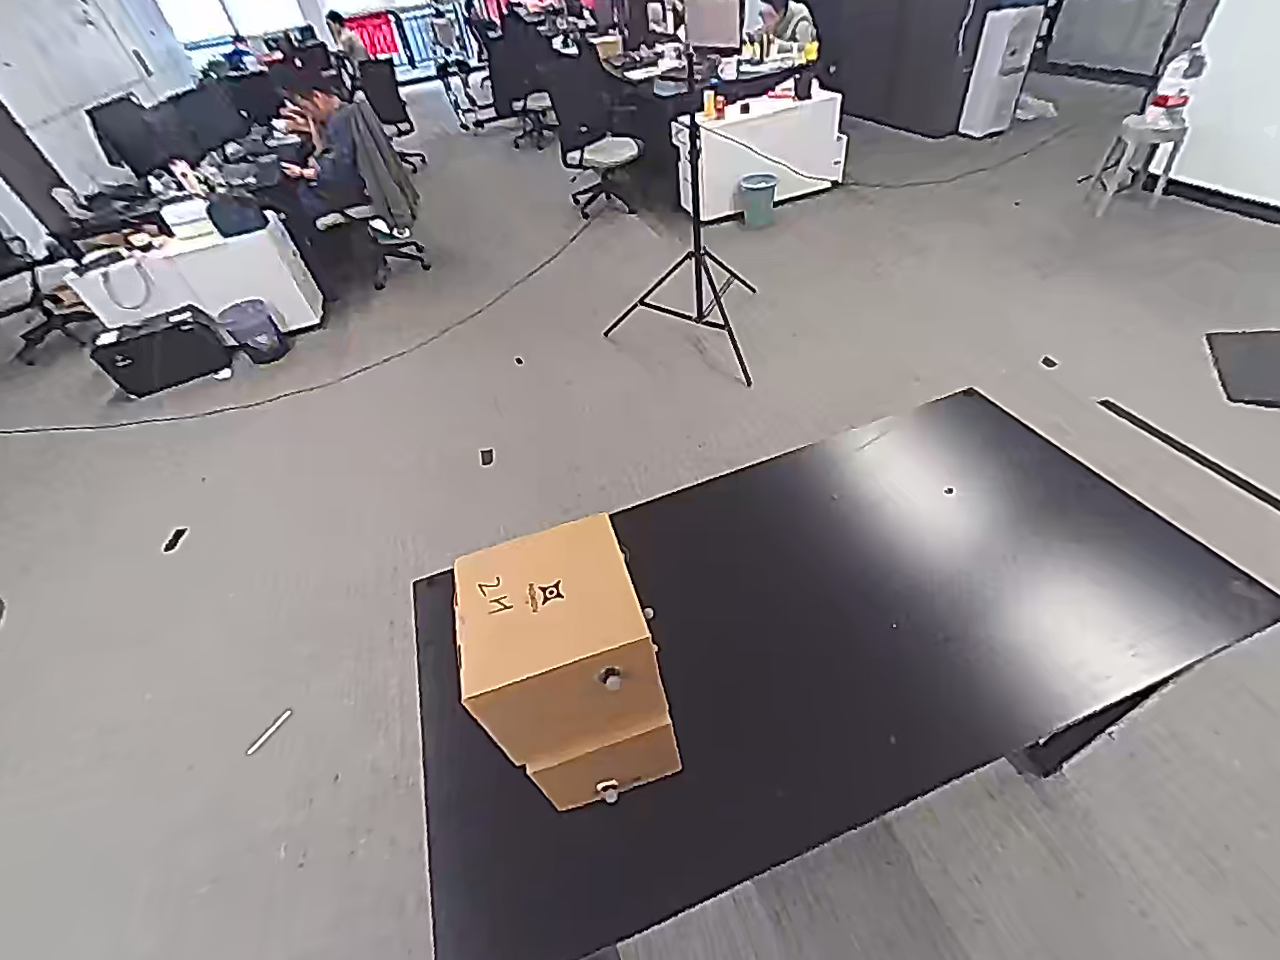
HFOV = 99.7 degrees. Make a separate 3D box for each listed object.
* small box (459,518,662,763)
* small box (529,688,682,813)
[{"bbox_3d":[-0.080,0.175,0.589,0.179,0.176,0.168,-17,44,-6],"label":"small box"},{"bbox_3d":[-0.052,0.294,0.701,0.168,0.176,0.179,-17,46,-6],"label":"small box"}]
